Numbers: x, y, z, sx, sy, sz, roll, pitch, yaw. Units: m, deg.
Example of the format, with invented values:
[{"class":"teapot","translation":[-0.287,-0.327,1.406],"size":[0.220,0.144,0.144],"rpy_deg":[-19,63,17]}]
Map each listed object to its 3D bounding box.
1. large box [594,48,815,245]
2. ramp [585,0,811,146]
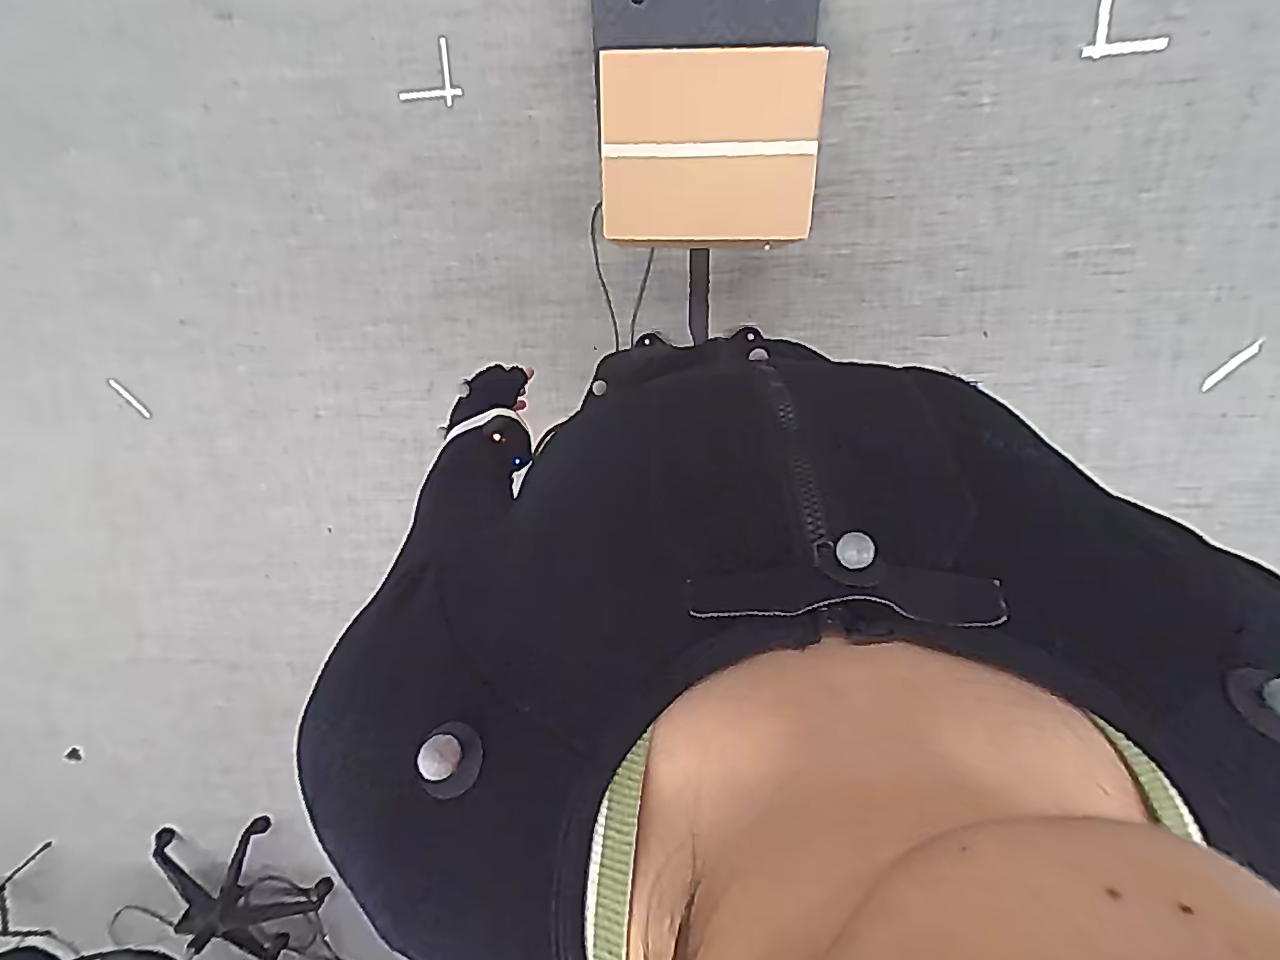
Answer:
[{"class":"large box","translation":[0.123,-0.677,1.157],"size":[0.408,0.320,0.320],"rpy_deg":[1,110,2]},{"class":"ramp","translation":[0.119,-1.244,1.064],"size":[0.509,0.206,0.991],"rpy_deg":[-2,106,2]}]
